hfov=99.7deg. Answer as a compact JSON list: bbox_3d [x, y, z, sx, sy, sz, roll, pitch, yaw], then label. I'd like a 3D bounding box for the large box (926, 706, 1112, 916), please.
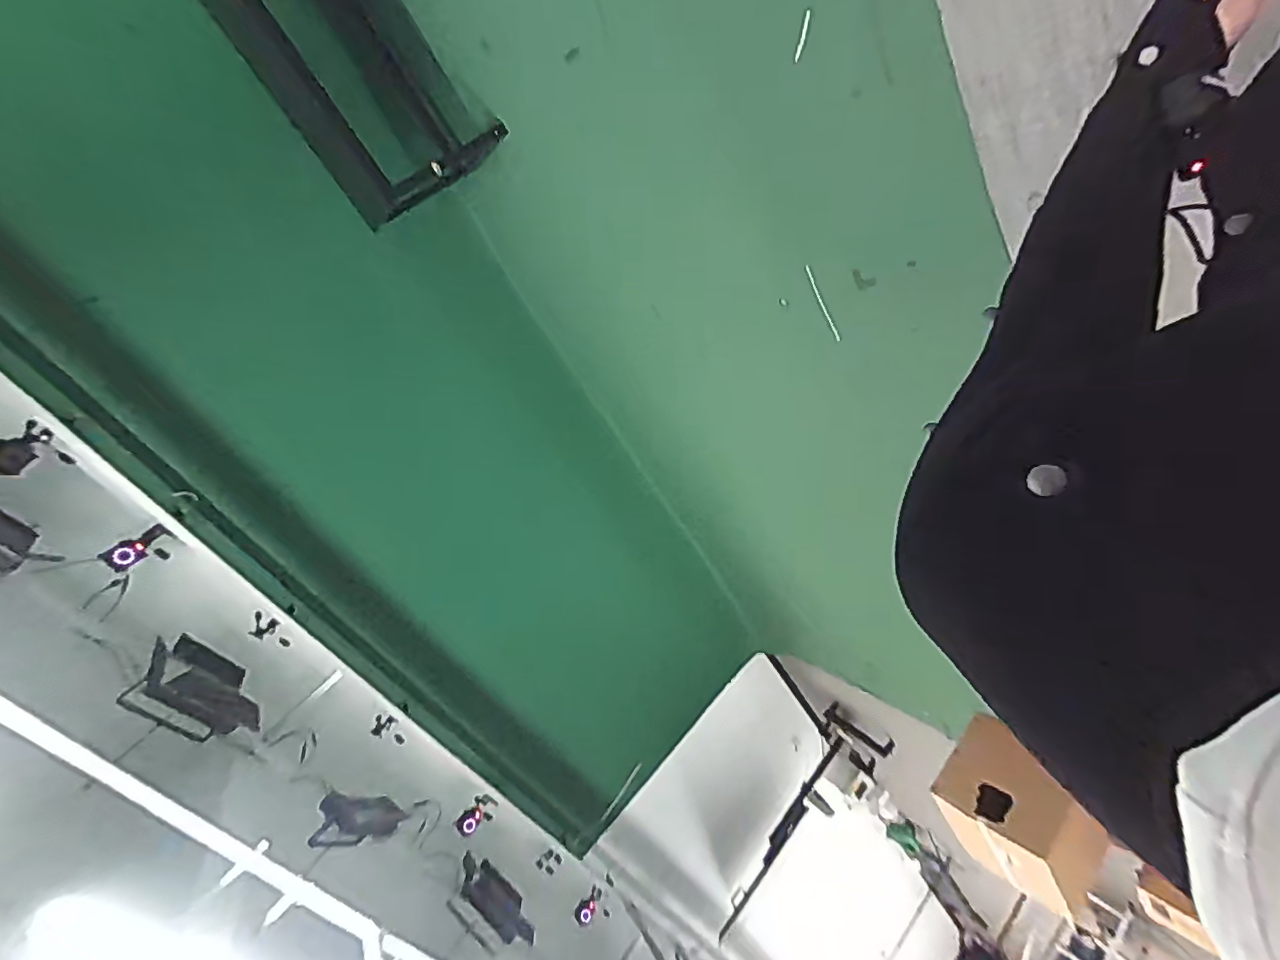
[{"bbox_3d":[1.151,0.981,1.636,0.320,0.320,0.408,10,139,58],"label":"large box"}]
